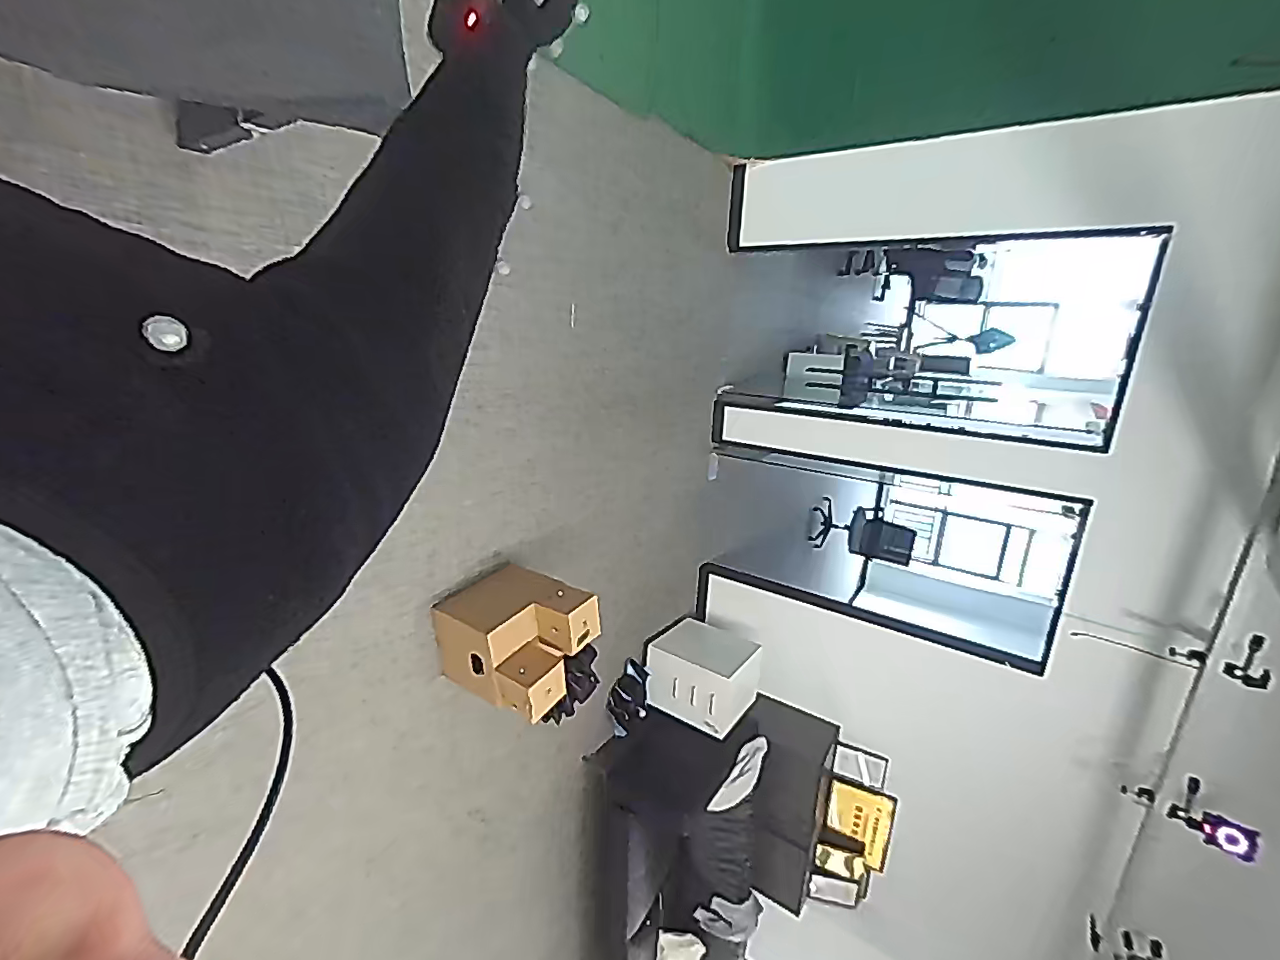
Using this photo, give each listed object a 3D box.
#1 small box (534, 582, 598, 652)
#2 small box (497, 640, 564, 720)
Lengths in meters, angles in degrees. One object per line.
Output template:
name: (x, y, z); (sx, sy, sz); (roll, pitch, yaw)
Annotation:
small box: (-0.278, 0.510, 2.034); (0.168, 0.176, 0.179); (-28, 120, -51)
small box: (-0.393, 0.703, 1.922); (0.179, 0.176, 0.168); (-34, 132, -49)
